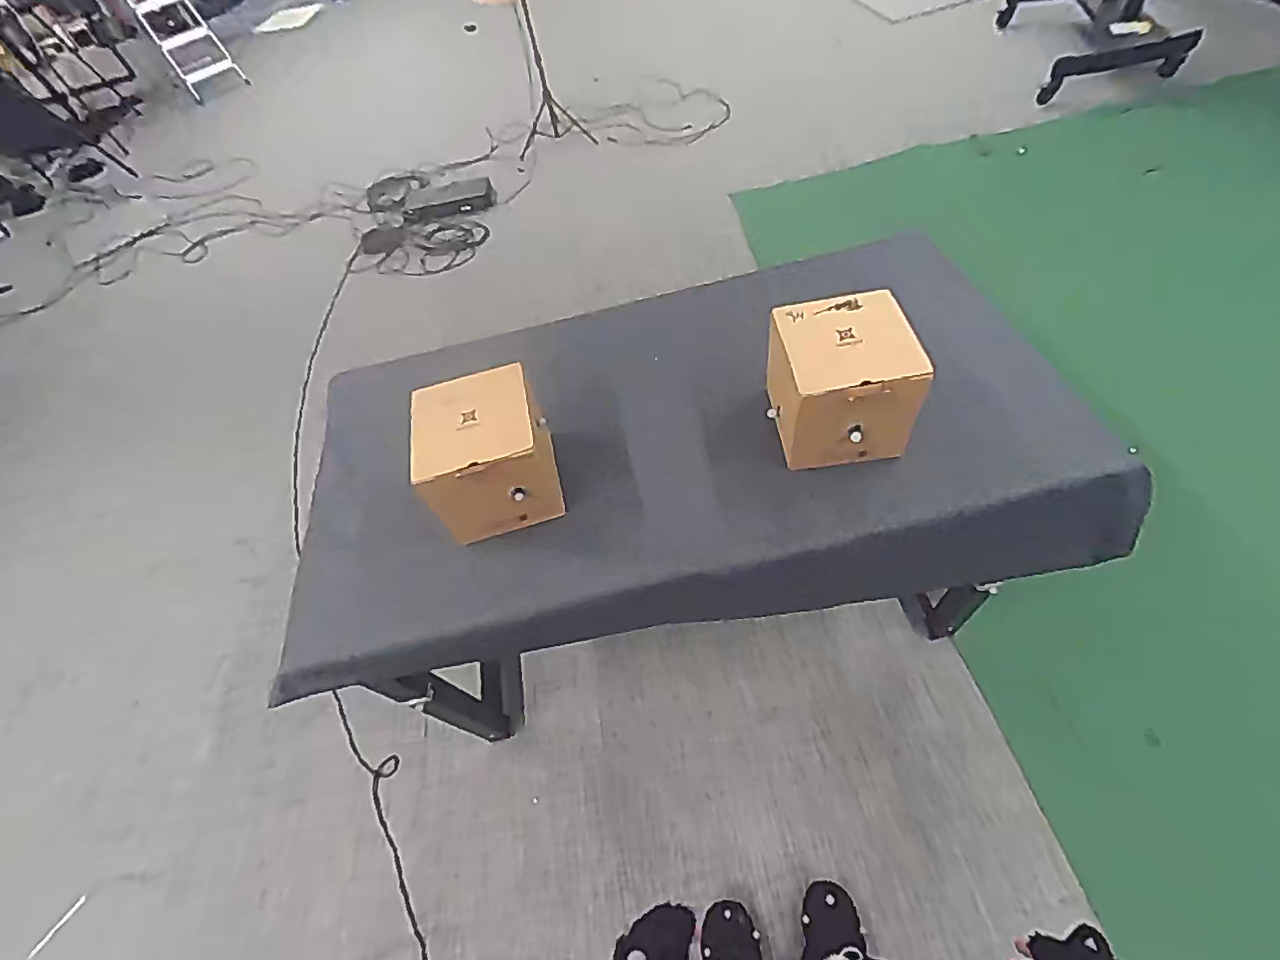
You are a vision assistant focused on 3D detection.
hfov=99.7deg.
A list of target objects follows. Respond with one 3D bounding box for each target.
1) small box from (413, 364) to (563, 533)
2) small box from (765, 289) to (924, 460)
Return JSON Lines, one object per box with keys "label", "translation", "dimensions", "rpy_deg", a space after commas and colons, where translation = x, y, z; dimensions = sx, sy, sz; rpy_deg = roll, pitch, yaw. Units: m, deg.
{"label": "small box", "translation": [-0.224, -0.038, 0.816], "dimensions": [0.168, 0.176, 0.179], "rpy_deg": [-16, 54, -2]}
{"label": "small box", "translation": [0.282, -0.143, 0.789], "dimensions": [0.168, 0.176, 0.179], "rpy_deg": [-8, 56, 5]}
